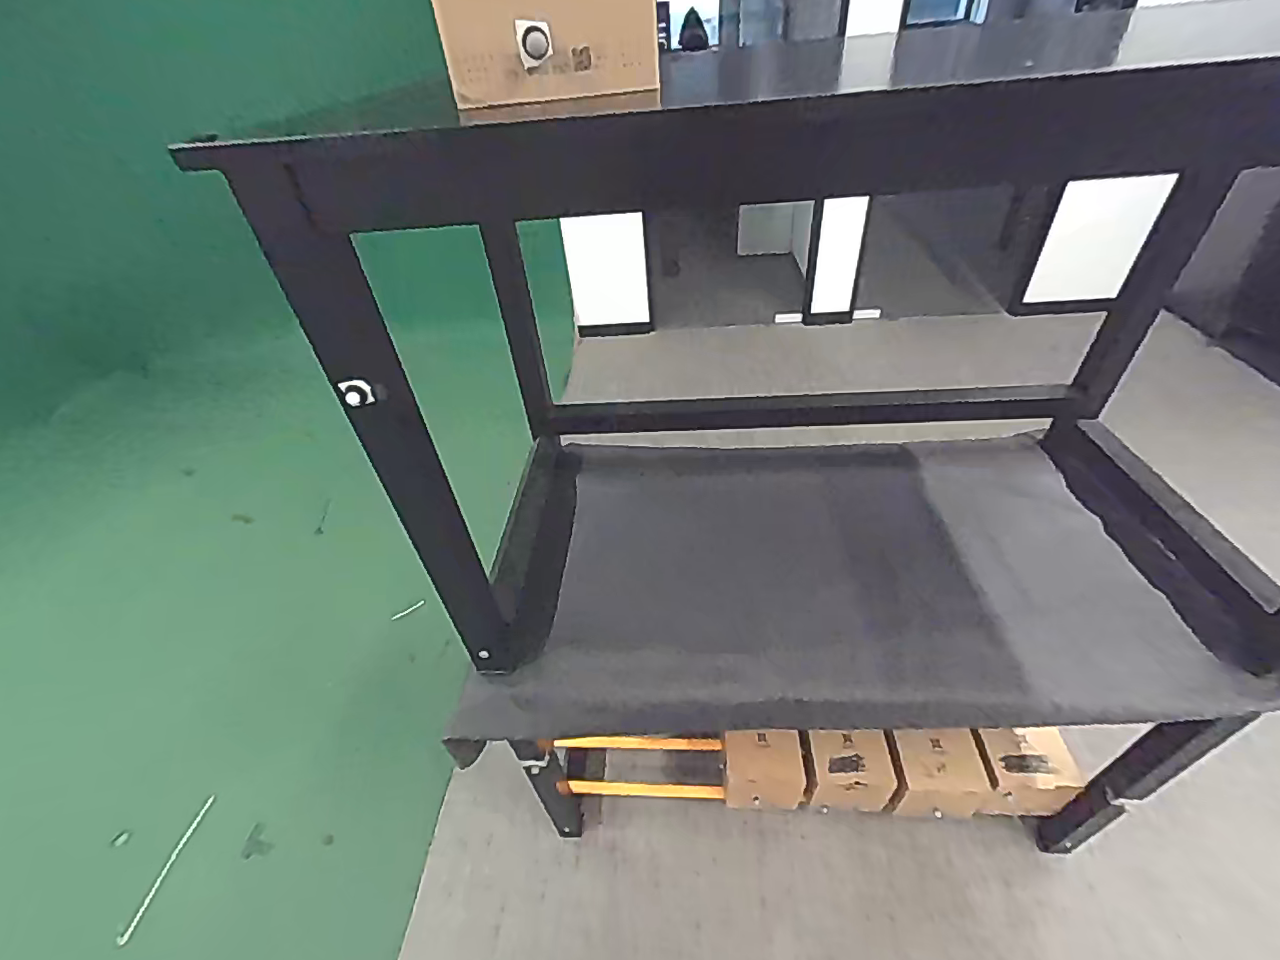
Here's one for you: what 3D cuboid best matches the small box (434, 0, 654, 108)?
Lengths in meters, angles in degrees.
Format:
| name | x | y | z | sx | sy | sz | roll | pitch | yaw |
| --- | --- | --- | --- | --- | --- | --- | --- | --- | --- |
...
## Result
| name | x | y | z | sx | sy | sz | roll | pitch | yaw |
| --- | --- | --- | --- | --- | --- | --- | --- | --- | --- |
| small box | -0.085 | -0.426 | 0.454 | 0.168 | 0.176 | 0.179 | -10 | 41 | -3 |
